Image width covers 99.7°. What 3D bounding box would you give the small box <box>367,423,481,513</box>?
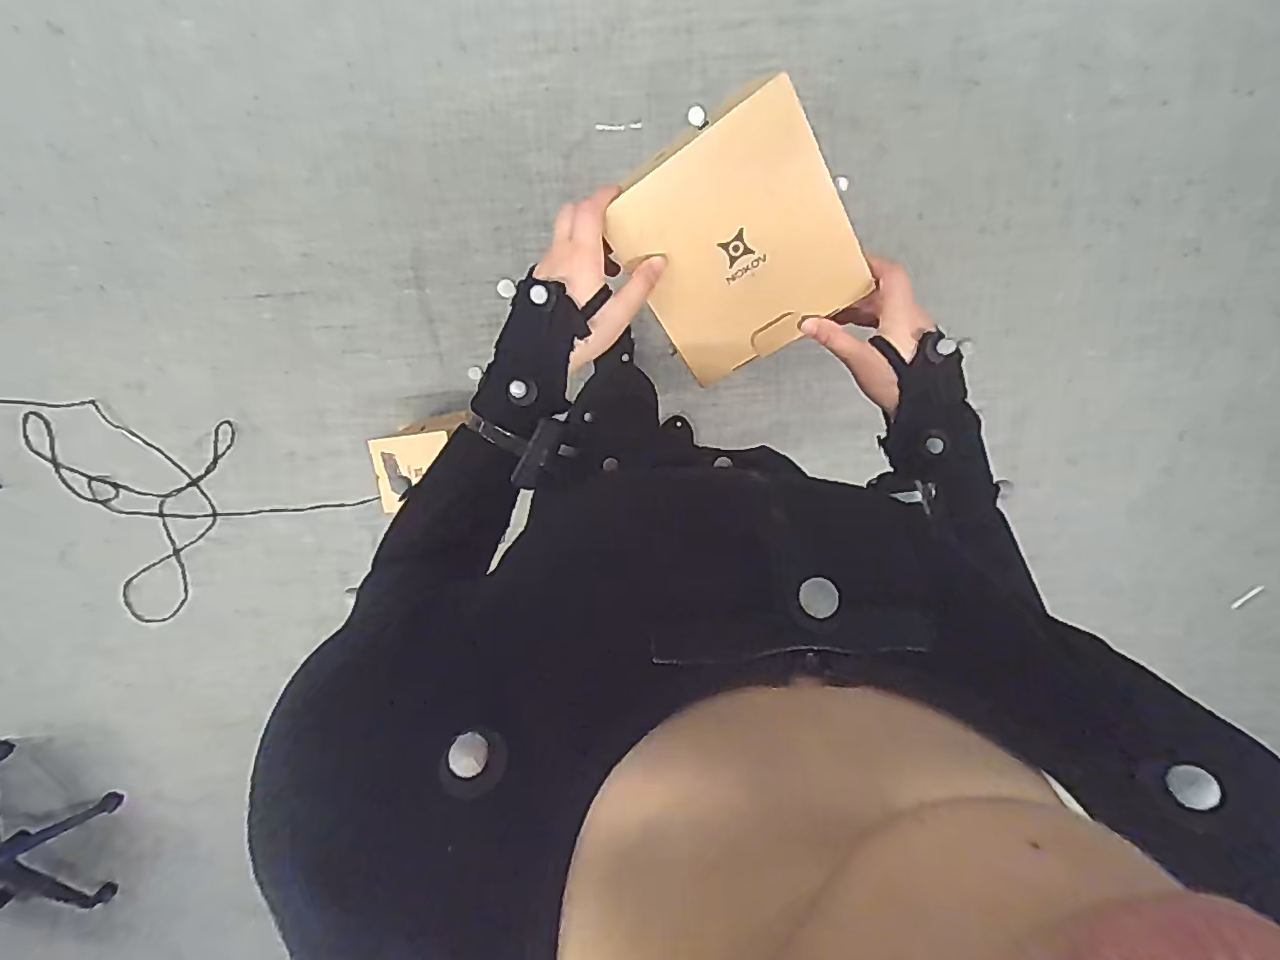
[{"bbox_3d":[-0.482,-0.032,1.229,0.179,0.176,0.168,-7,102,2],"label":"small box"}]

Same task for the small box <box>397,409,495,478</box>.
[{"bbox_3d":[-0.485,-0.083,1.386,0.179,0.176,0.168,-10,101,4],"label":"small box"}]
